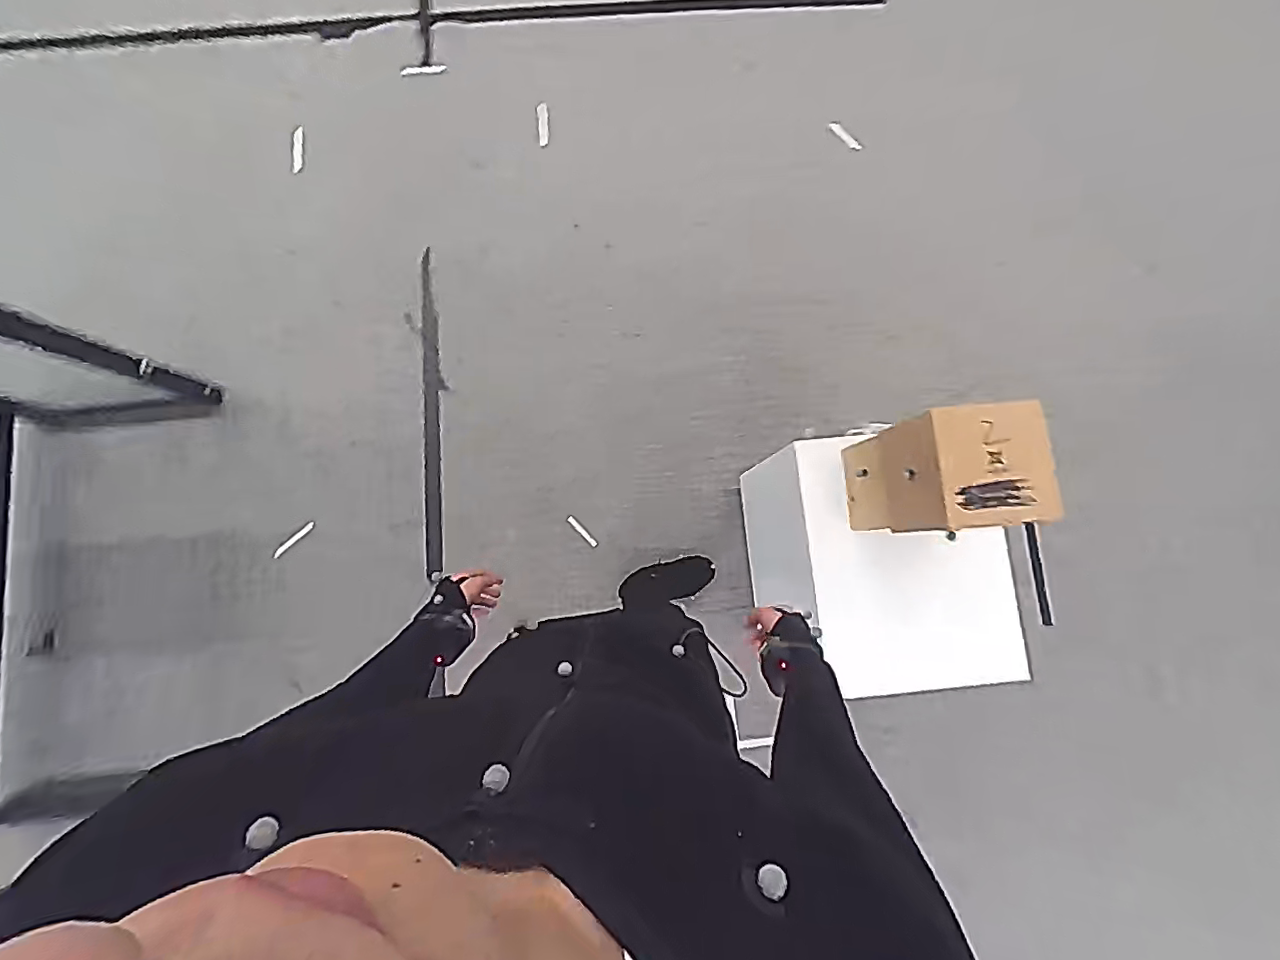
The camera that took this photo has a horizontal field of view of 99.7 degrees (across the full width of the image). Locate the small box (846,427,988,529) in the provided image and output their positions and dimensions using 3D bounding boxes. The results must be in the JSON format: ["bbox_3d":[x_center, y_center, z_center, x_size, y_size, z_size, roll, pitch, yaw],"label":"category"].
[{"bbox_3d":[0.499,0.003,1.004,0.179,0.176,0.168,-4,84,-3],"label":"small box"}]
